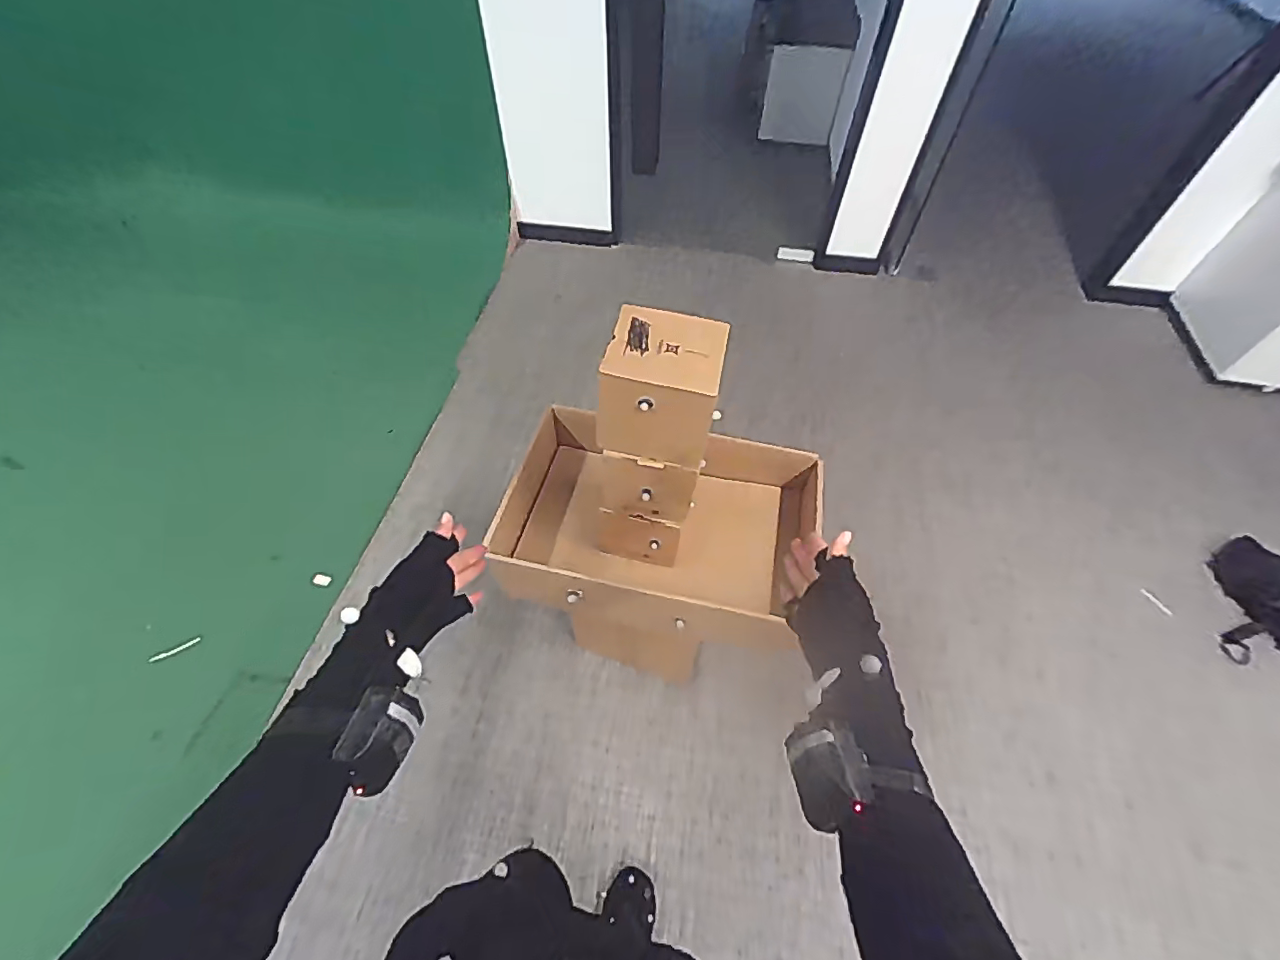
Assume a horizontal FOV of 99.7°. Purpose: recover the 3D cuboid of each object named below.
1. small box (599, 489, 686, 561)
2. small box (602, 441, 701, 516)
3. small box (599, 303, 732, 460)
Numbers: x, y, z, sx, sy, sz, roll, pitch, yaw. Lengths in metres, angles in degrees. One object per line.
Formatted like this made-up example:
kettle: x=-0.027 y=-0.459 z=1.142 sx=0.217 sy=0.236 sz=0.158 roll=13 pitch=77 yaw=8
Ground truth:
small box: x=0.016 y=0.047 z=1.130 sx=0.168 sy=0.176 sz=0.179 roll=12 pitch=53 yaw=4
small box: x=0.029 y=-0.054 z=1.002 sx=0.168 sy=0.176 sz=0.179 roll=10 pitch=55 yaw=3
small box: x=0.037 y=-0.153 z=0.869 sx=0.179 sy=0.176 sz=0.168 roll=12 pitch=55 yaw=4
